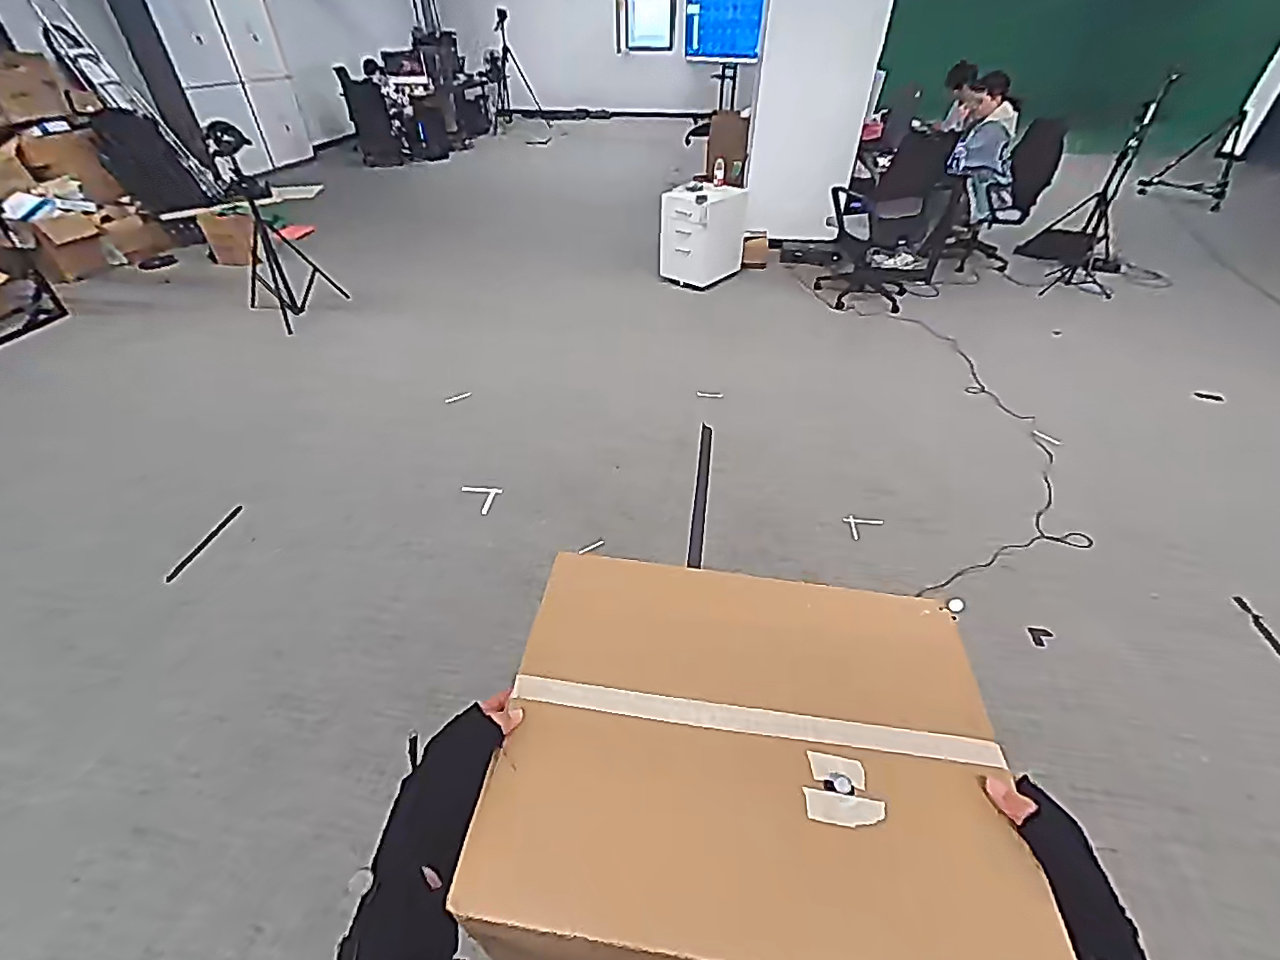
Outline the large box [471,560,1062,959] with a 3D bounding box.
[{"bbox_3d":[0.088,0.318,0.563,0.408,0.320,0.320,7,42,4],"label":"large box"}]
